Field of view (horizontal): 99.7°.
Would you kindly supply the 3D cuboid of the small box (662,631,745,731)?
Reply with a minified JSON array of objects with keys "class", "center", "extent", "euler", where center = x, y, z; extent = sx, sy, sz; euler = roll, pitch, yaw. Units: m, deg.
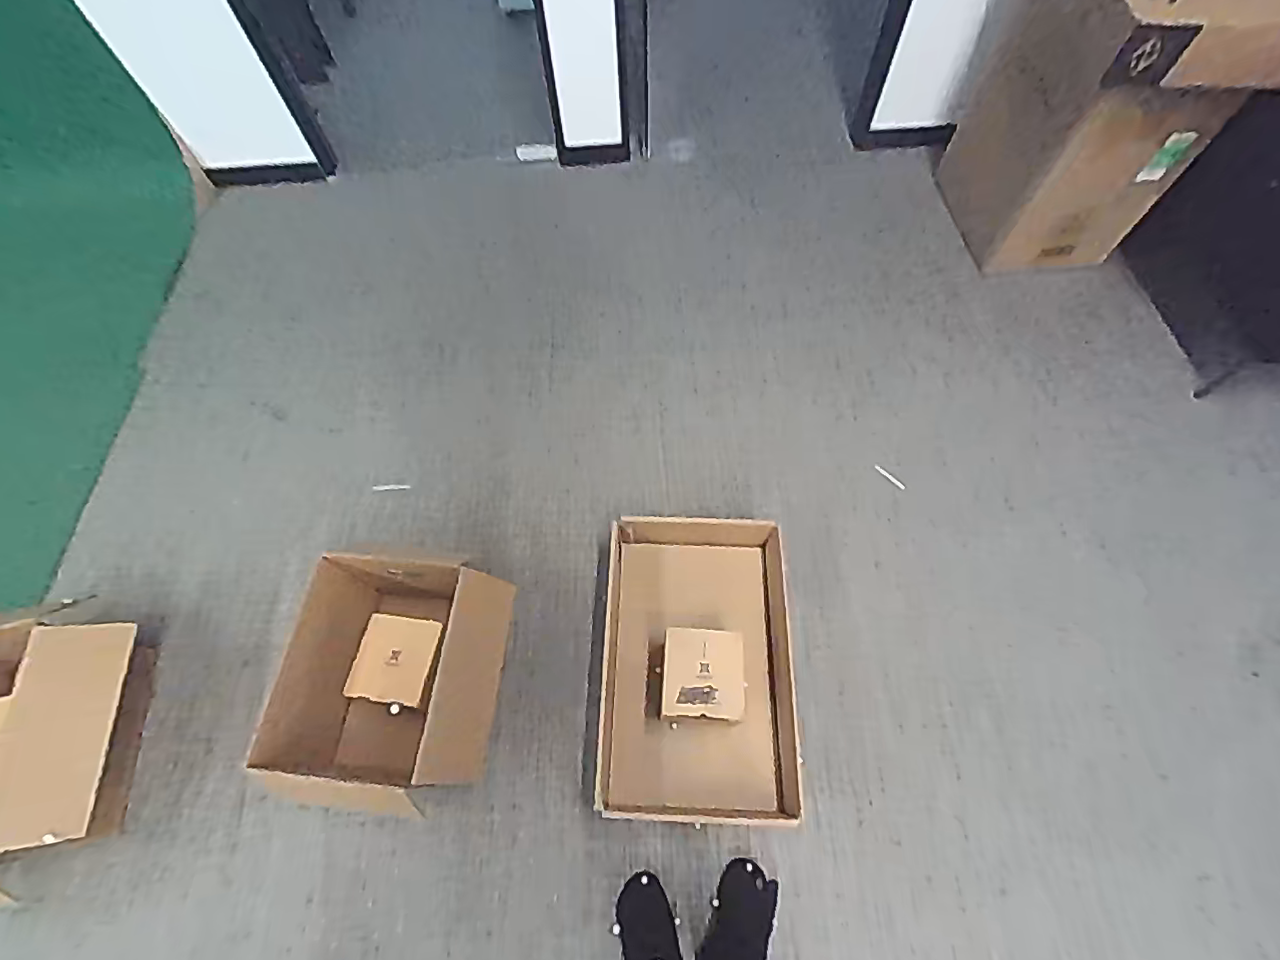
[{"class":"small box","center":[0.134,0.440,1.172],"extent":[0.168,0.176,0.179],"euler":[4,61,3]}]
